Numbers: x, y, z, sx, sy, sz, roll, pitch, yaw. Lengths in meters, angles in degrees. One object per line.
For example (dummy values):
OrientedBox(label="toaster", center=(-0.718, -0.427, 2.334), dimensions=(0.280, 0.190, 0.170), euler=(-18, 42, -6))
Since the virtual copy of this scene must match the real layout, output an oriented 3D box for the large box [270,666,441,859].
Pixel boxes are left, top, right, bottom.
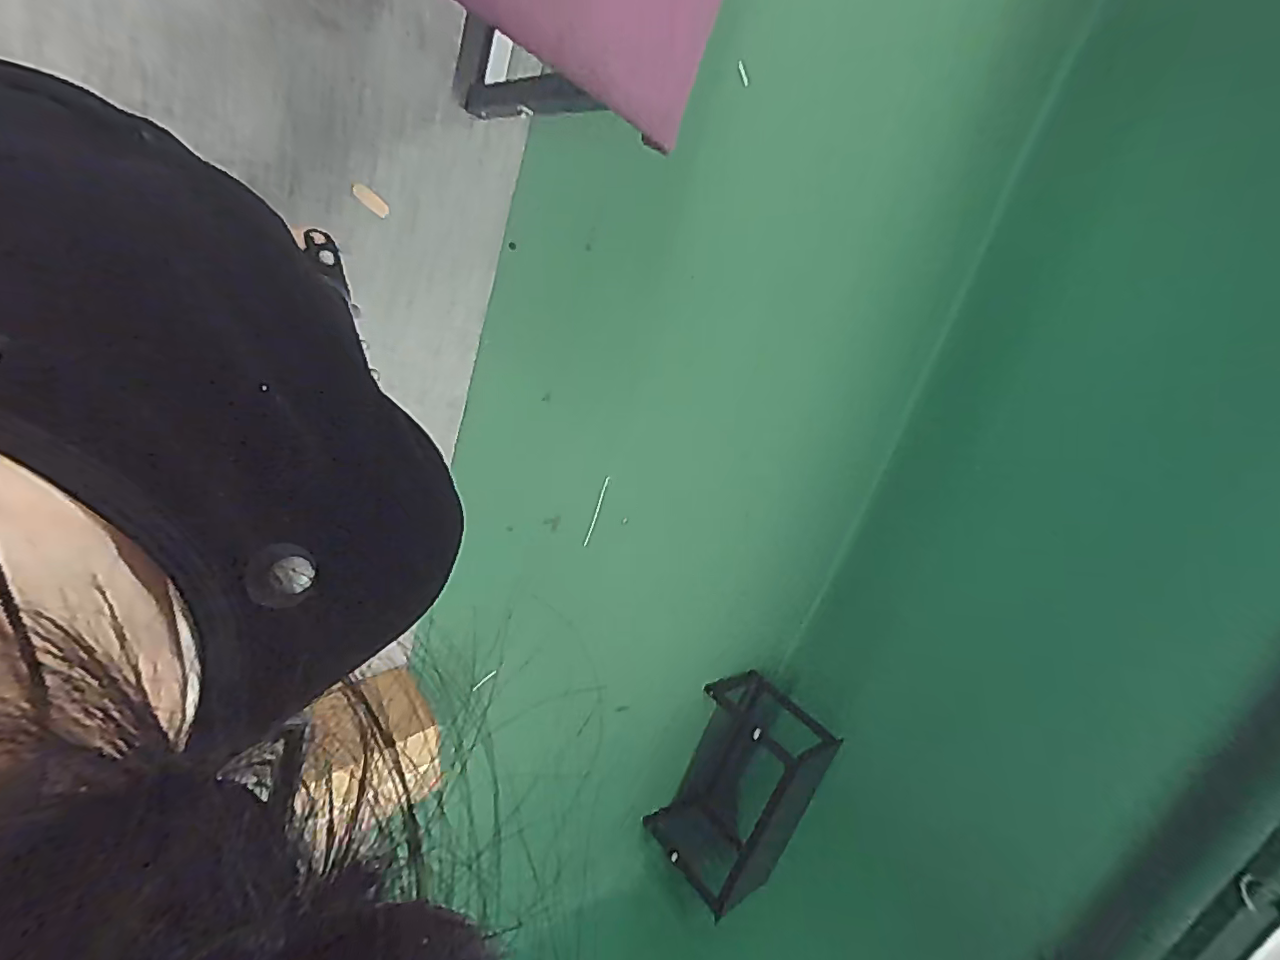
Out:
OrientedBox(label="large box", center=(-0.905, 0.882, 1.741), dimensions=(0.408, 0.320, 0.320), euler=(-15, 124, -39))
